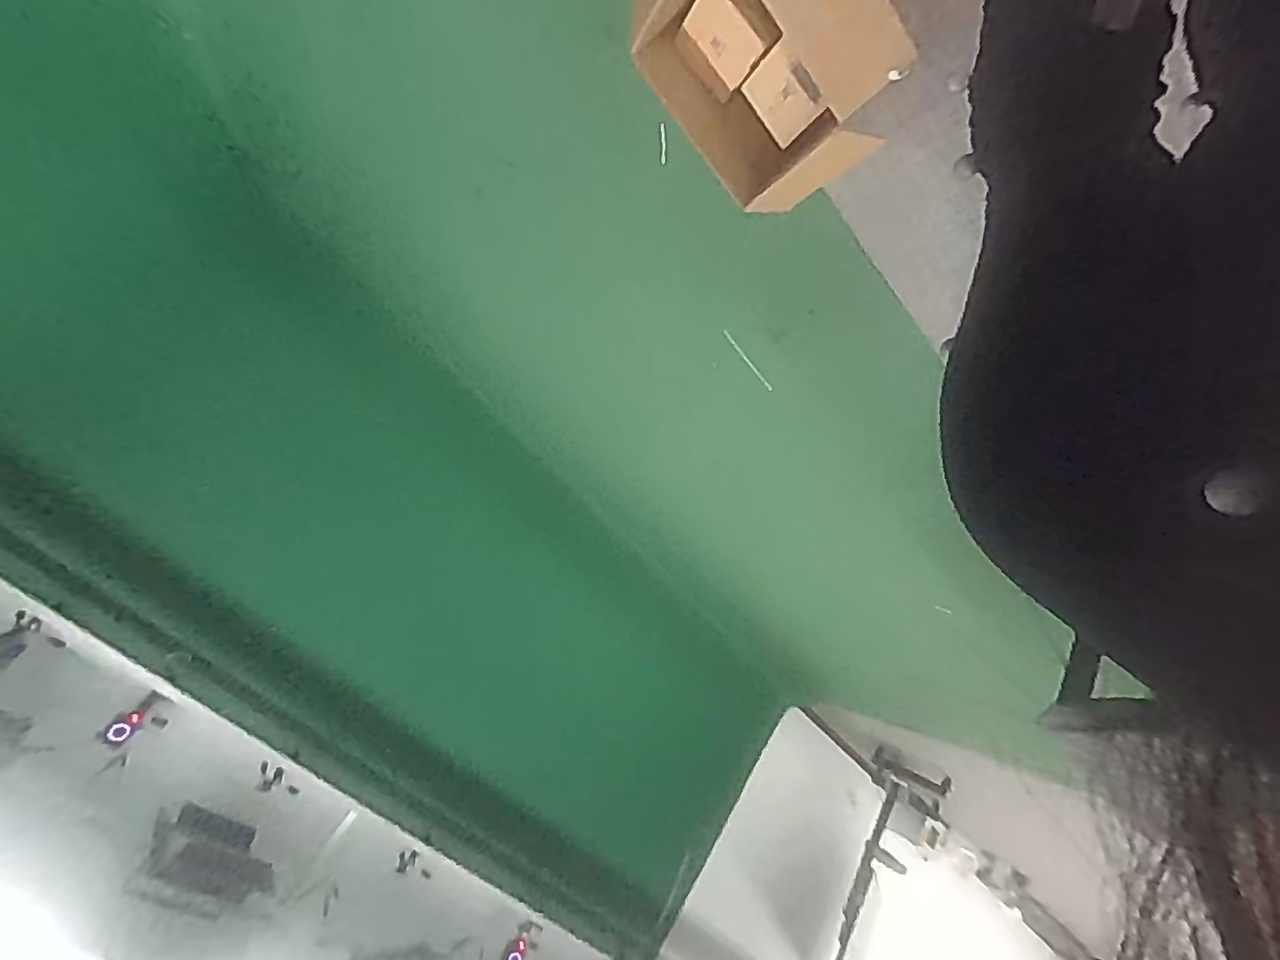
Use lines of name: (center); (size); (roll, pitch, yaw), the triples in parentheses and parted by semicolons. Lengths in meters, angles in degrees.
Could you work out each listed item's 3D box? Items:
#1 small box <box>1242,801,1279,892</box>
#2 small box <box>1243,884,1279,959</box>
small box: (1.385, 0.802, 1.101); (0.179, 0.176, 0.168); (44, 155, -15)
small box: (1.307, 0.927, 1.031); (0.168, 0.176, 0.179); (43, 156, -14)
